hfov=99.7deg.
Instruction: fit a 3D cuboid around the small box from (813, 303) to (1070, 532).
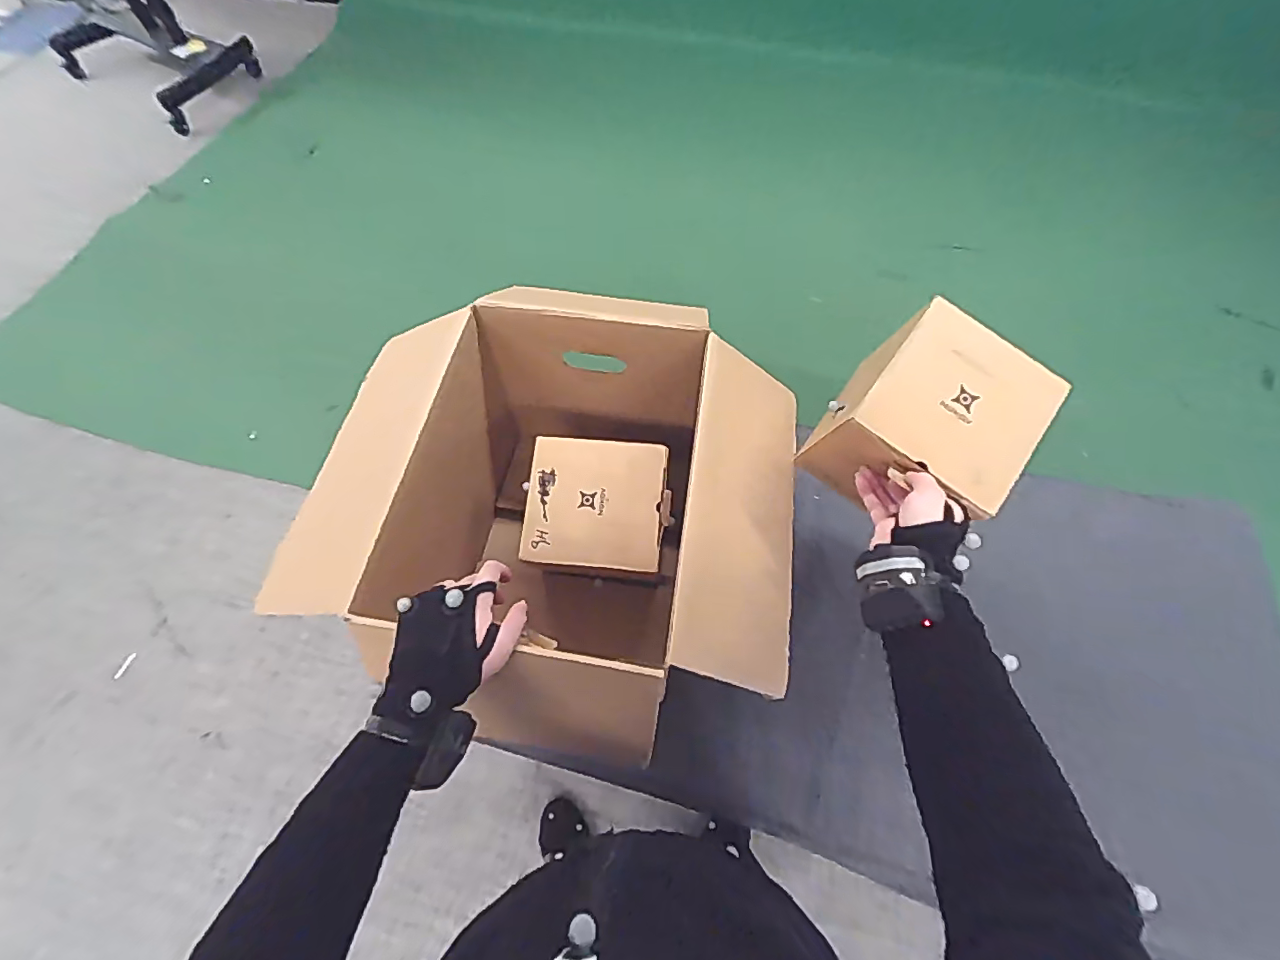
[{"bbox_3d":[0.326,-0.058,0.626,0.168,0.176,0.179,37,77,4],"label":"small box"}]
